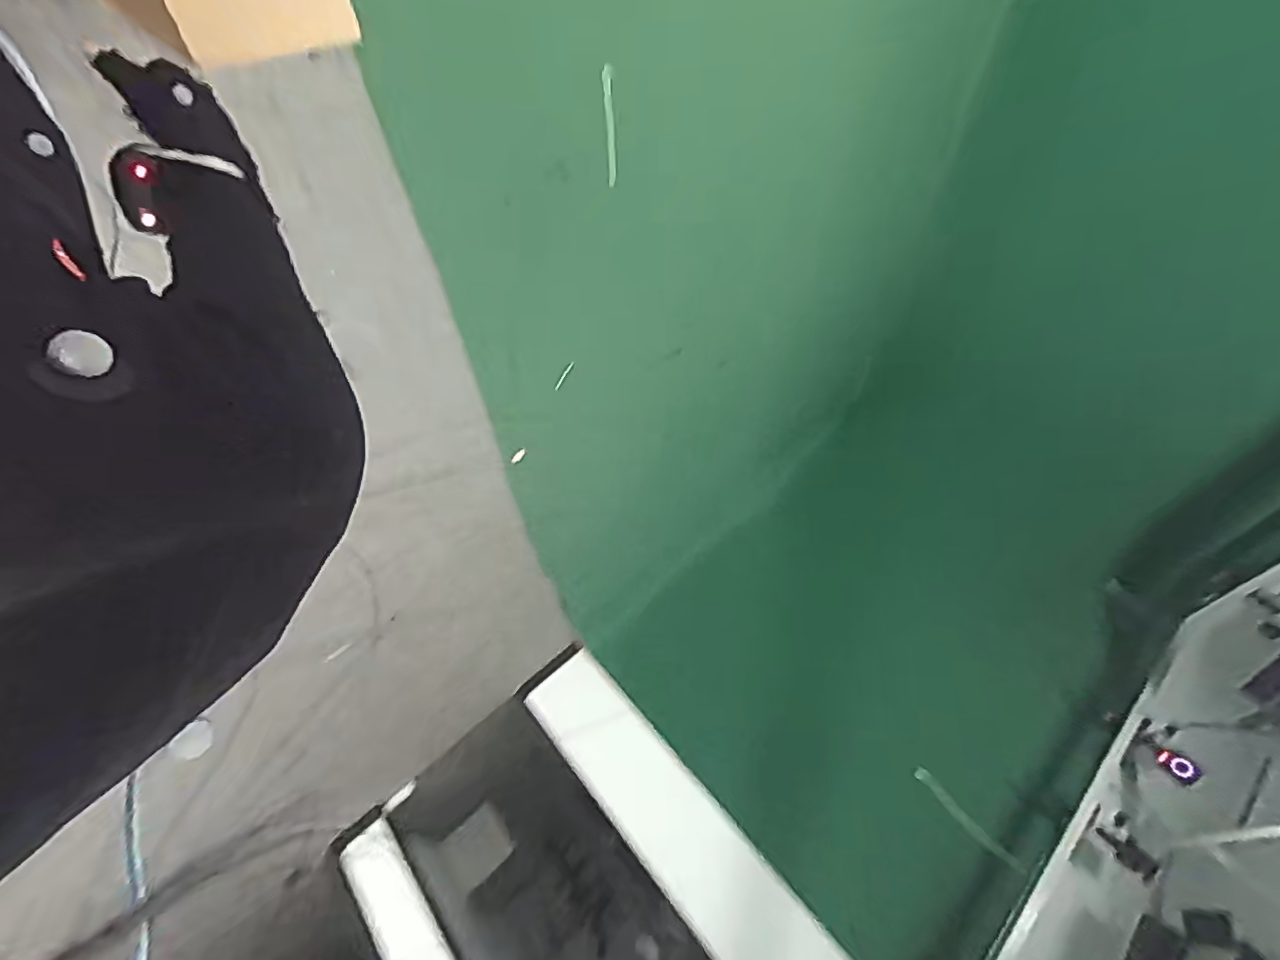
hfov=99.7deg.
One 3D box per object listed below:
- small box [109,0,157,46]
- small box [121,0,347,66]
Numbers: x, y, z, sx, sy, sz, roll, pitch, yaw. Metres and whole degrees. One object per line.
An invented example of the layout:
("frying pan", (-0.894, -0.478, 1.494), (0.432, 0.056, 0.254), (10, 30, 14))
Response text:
("small box", (-0.562, -0.647, 0.640), (0.168, 0.176, 0.179), (-33, 147, -27))
("small box", (-0.450, -0.557, 0.558), (0.179, 0.176, 0.168), (-35, 147, -25))
